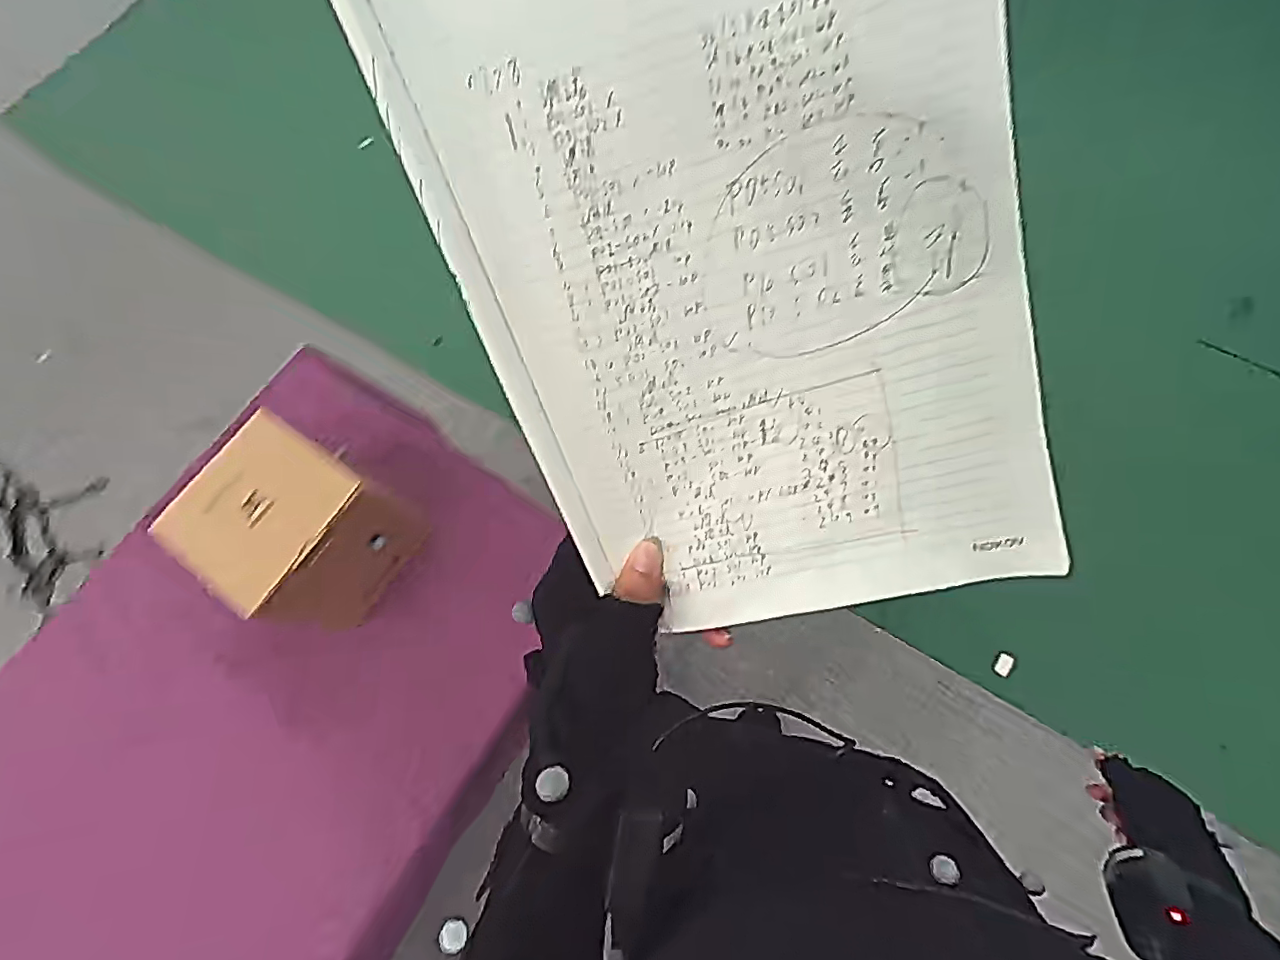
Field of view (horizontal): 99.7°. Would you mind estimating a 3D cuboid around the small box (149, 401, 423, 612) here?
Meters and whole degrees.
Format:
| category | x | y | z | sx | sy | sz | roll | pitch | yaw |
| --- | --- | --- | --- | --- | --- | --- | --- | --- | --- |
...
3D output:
| category | x | y | z | sx | sy | sz | roll | pitch | yaw |
| --- | --- | --- | --- | --- | --- | --- | --- | --- | --- |
| small box | -0.400 | 0.043 | 0.644 | 0.179 | 0.176 | 0.168 | 32 | 76 | 16 |
